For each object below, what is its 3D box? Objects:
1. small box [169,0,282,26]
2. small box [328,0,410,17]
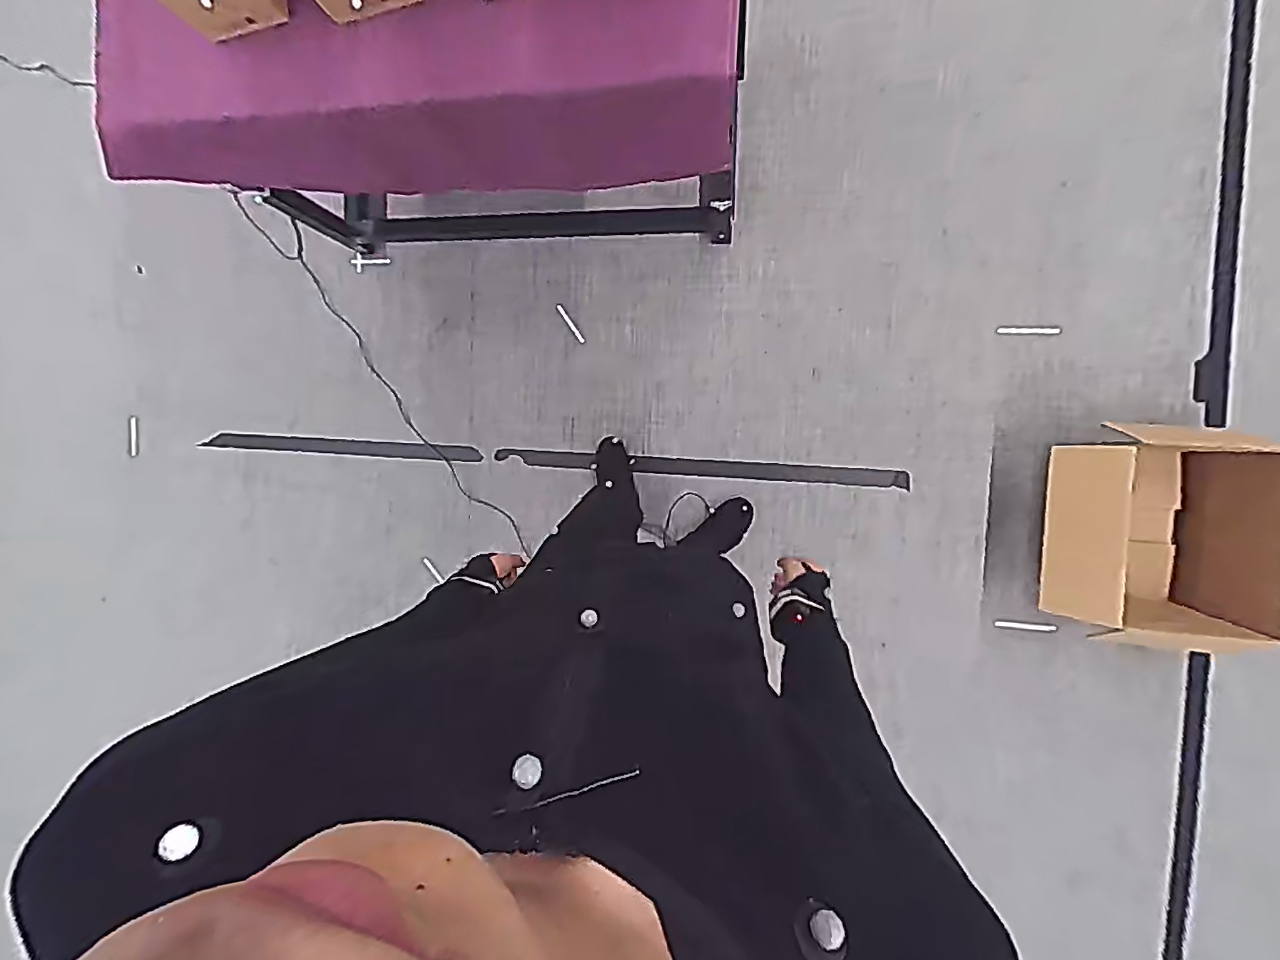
[{"bbox_3d":[-0.716,-0.885,0.873,0.168,0.176,0.179,-6,92,9],"label":"small box"},{"bbox_3d":[-0.466,-0.884,0.836,0.168,0.176,0.179,-7,92,10],"label":"small box"}]
